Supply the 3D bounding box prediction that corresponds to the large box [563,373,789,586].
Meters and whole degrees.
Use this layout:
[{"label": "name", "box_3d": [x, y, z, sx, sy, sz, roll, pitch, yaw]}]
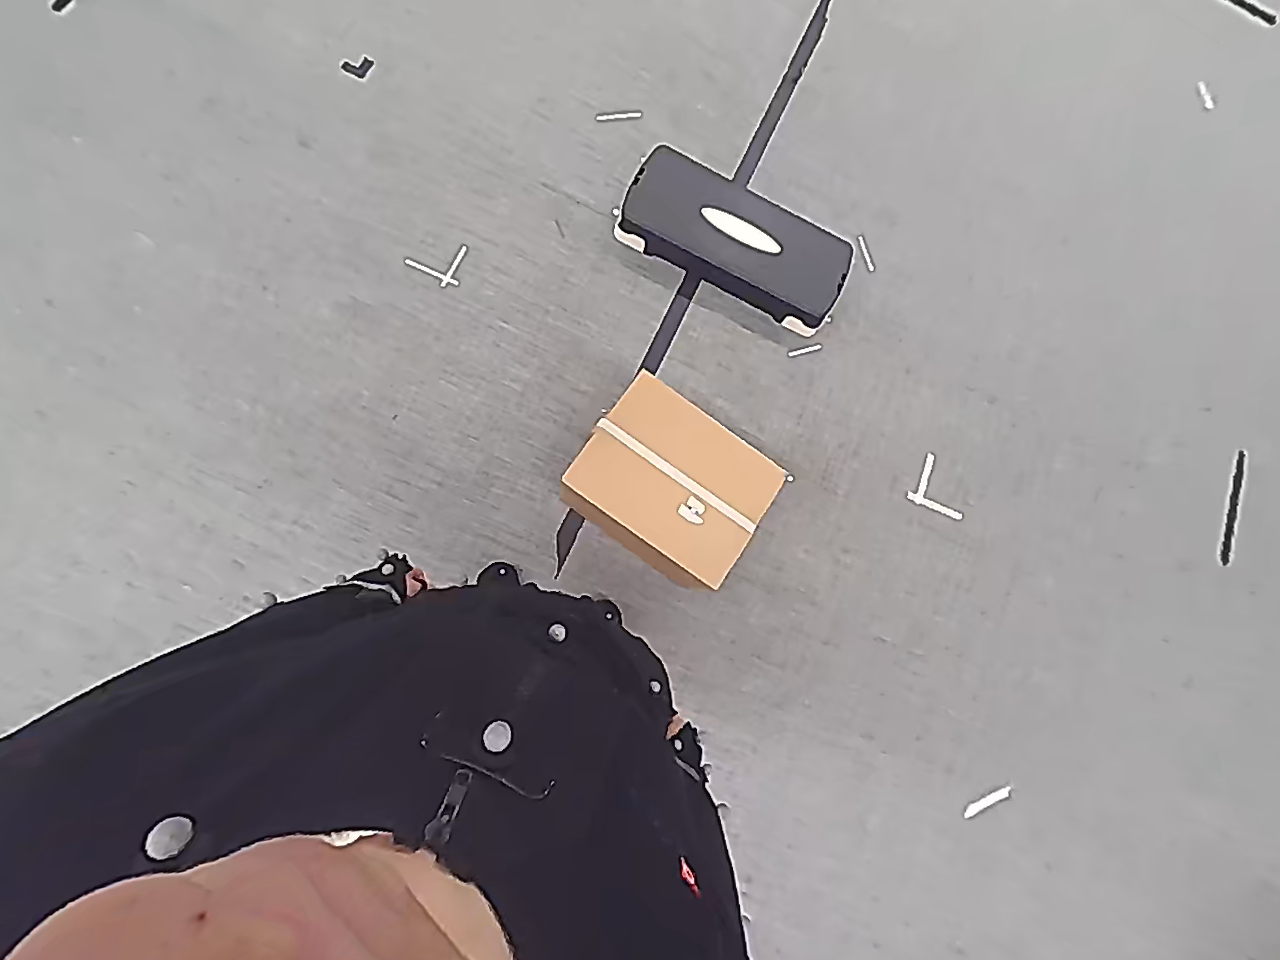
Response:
[{"label": "large box", "box_3d": [0.064, 0.017, 1.307, 0.408, 0.320, 0.320, 35, 78, -2]}]
